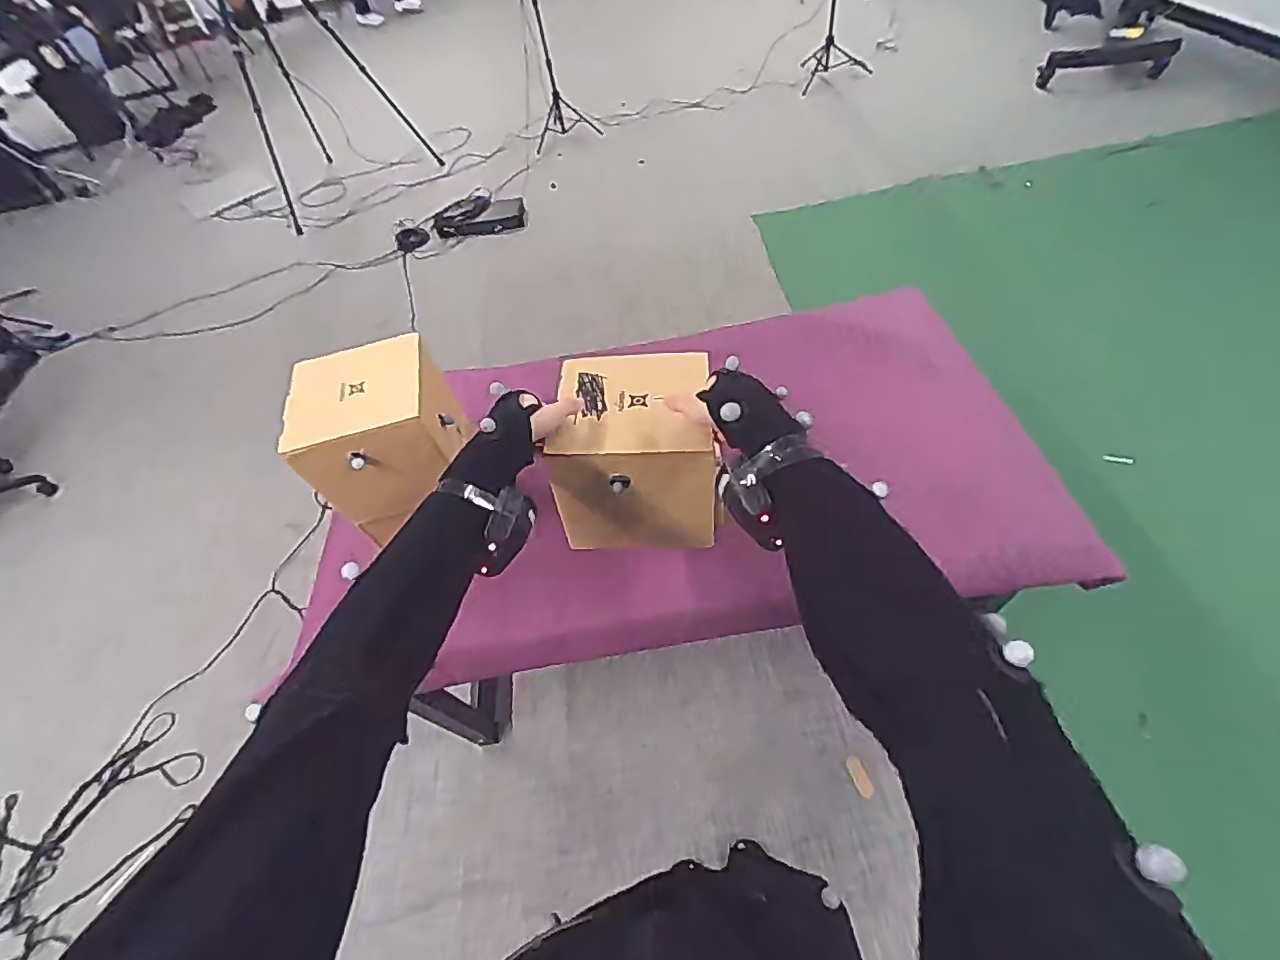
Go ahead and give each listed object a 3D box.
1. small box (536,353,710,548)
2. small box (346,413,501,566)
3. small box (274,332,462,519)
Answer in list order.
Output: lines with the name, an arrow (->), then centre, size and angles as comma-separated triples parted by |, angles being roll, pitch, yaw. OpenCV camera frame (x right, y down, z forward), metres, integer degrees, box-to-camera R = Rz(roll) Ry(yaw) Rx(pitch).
small box -> -0.007, -0.031, 0.642 | 0.179, 0.176, 0.168 | -1, 48, 5
small box -> -0.343, 0.021, 0.883 | 0.179, 0.176, 0.168 | -14, 54, -2
small box -> -0.358, -0.070, 0.751 | 0.179, 0.176, 0.168 | -16, 55, -2
